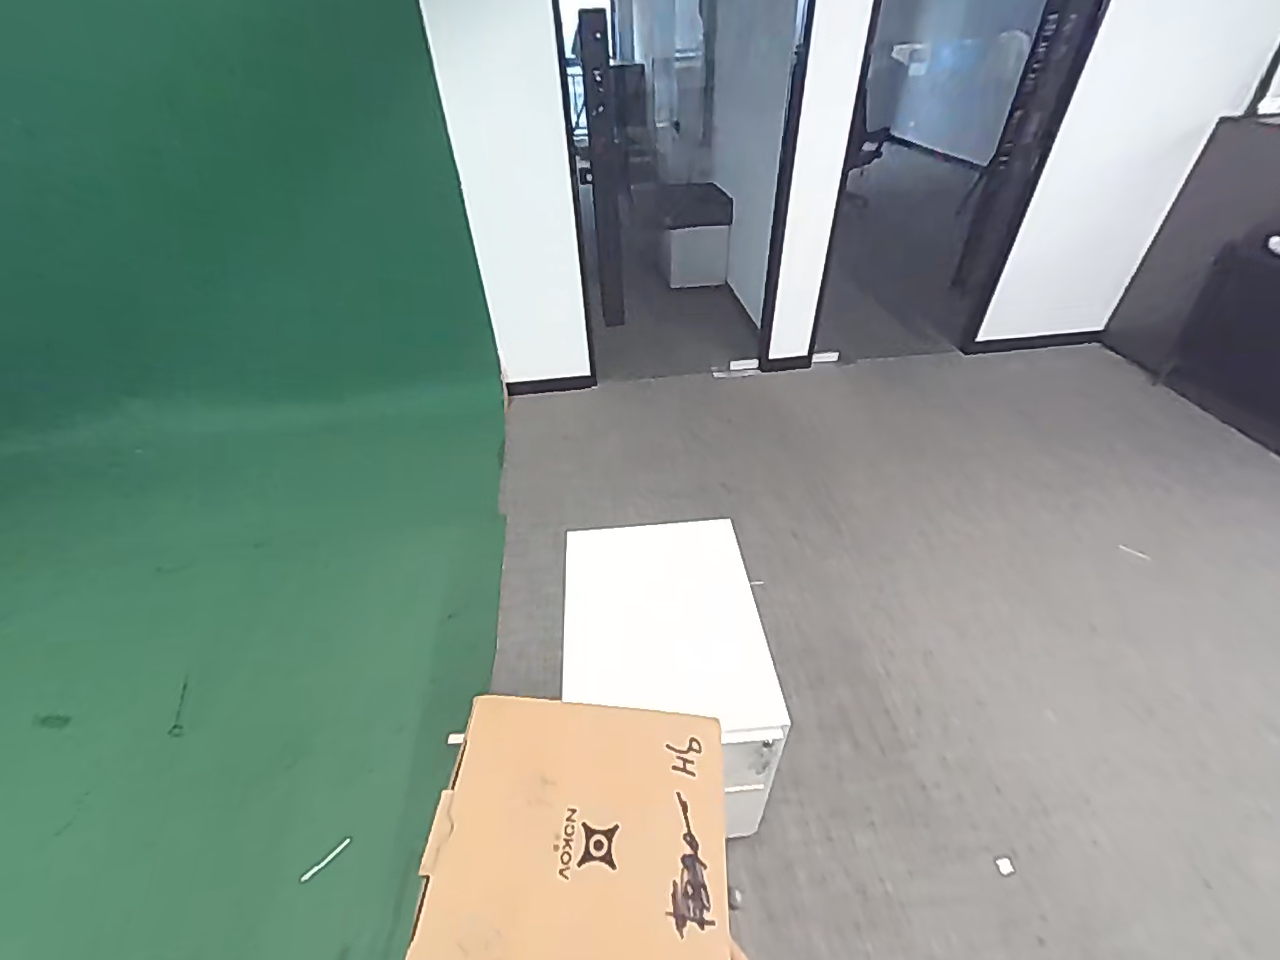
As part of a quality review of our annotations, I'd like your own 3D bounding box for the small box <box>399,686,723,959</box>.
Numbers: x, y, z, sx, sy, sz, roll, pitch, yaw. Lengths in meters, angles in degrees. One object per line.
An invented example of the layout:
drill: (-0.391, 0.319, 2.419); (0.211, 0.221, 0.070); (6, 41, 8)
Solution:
small box: (-0.043, 0.270, 0.392); (0.179, 0.176, 0.168); (6, 46, -1)
